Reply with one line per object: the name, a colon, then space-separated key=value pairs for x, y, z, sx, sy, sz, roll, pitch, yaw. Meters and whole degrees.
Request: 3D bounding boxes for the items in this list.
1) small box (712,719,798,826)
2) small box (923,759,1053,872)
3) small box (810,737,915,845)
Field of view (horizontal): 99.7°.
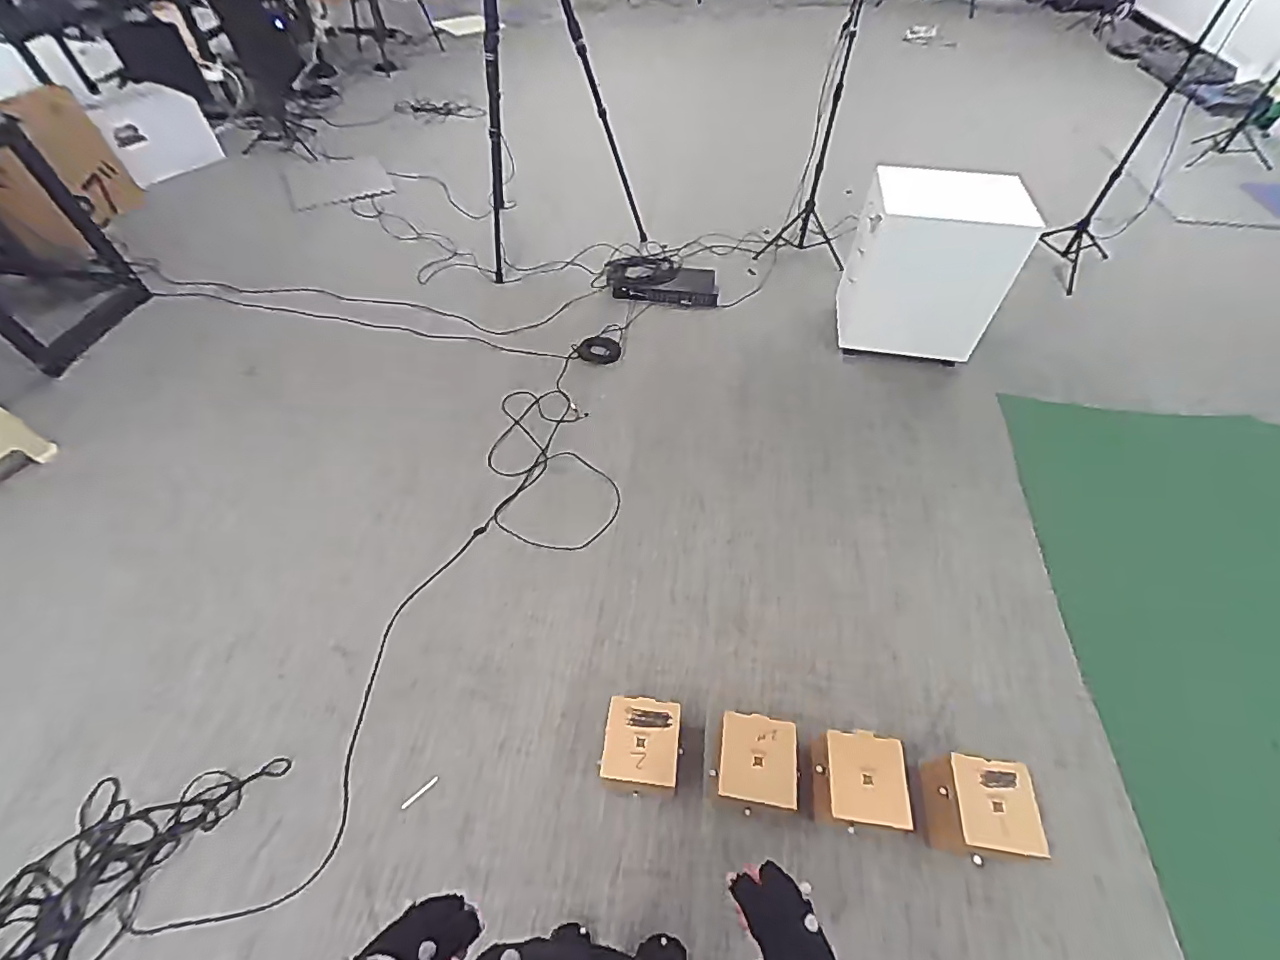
small box: x=0.259 y=0.672 z=1.235 sx=0.168 sy=0.176 sz=0.179 roll=8 pitch=51 yaw=5
small box: x=0.748 y=0.739 z=1.188 sx=0.168 sy=0.176 sz=0.179 roll=7 pitch=52 yaw=5
small box: x=0.489 y=0.702 z=1.216 sx=0.168 sy=0.176 sz=0.179 roll=6 pitch=51 yaw=4
